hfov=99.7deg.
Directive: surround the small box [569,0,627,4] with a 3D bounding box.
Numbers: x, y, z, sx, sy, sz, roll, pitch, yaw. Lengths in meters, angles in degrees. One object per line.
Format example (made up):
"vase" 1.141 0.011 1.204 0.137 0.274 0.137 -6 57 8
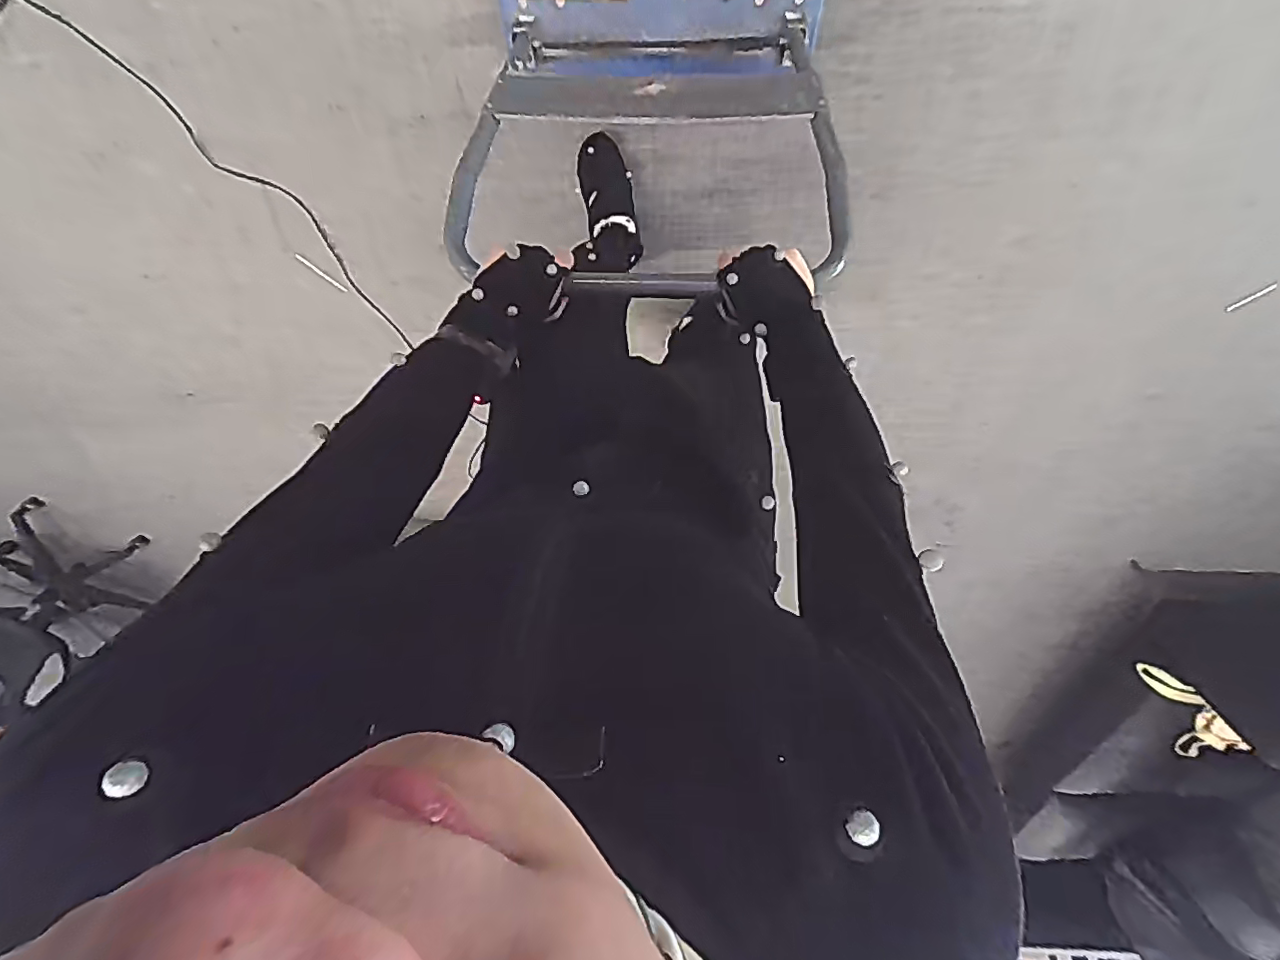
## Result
"small box" -0.096 -0.853 0.809 0.168 0.176 0.179 3 144 0
